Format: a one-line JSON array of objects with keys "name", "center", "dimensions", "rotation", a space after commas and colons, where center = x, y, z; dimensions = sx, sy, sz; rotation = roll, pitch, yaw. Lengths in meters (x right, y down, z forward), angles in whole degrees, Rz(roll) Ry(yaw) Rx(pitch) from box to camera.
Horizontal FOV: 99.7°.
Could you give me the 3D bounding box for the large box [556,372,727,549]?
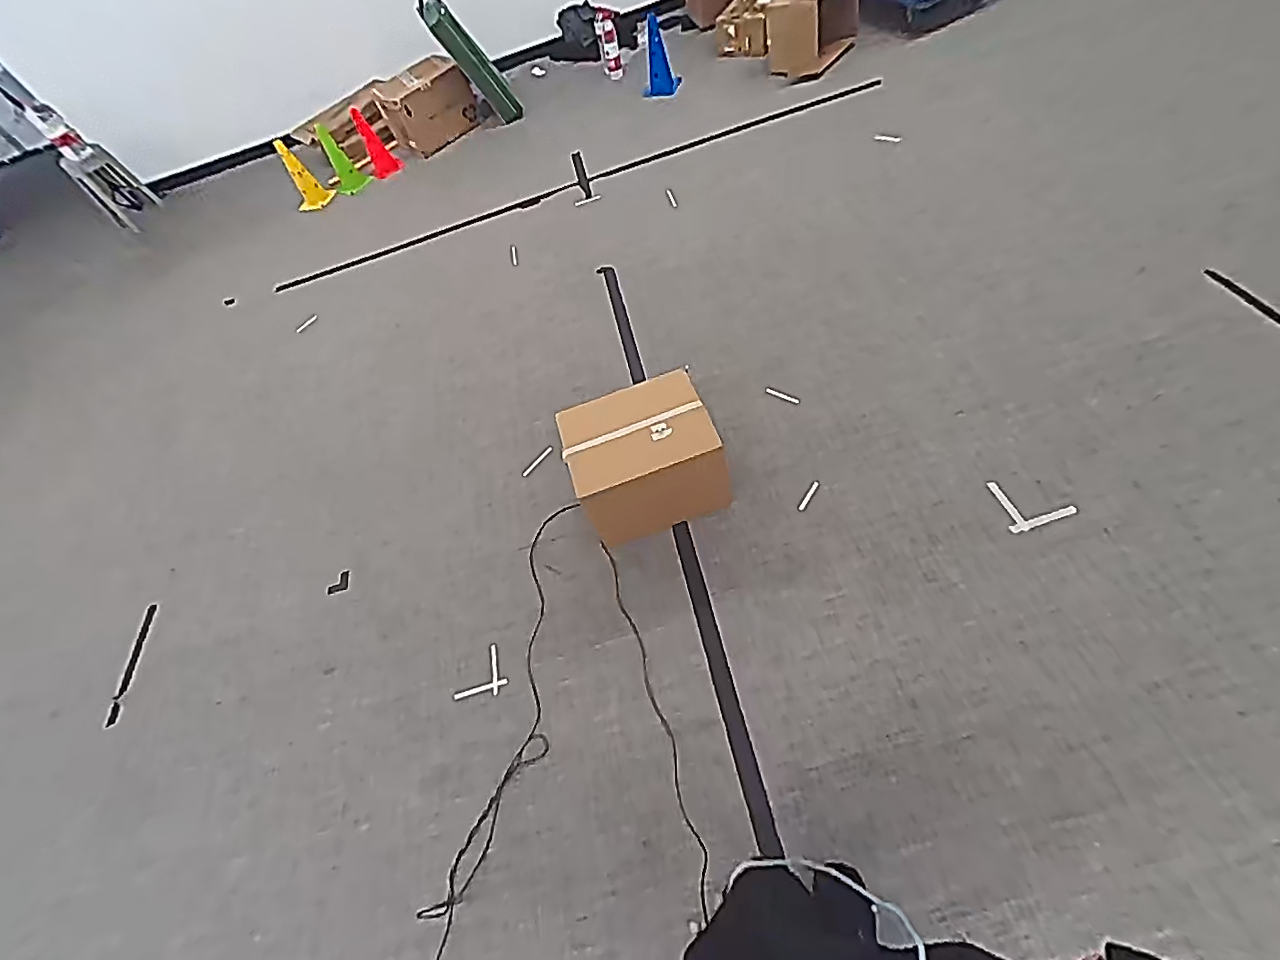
[{"name": "large box", "center": [0.010, -0.050, 1.601], "dimensions": [0.408, 0.320, 0.320], "rotation": [-20, 56, 0]}]
